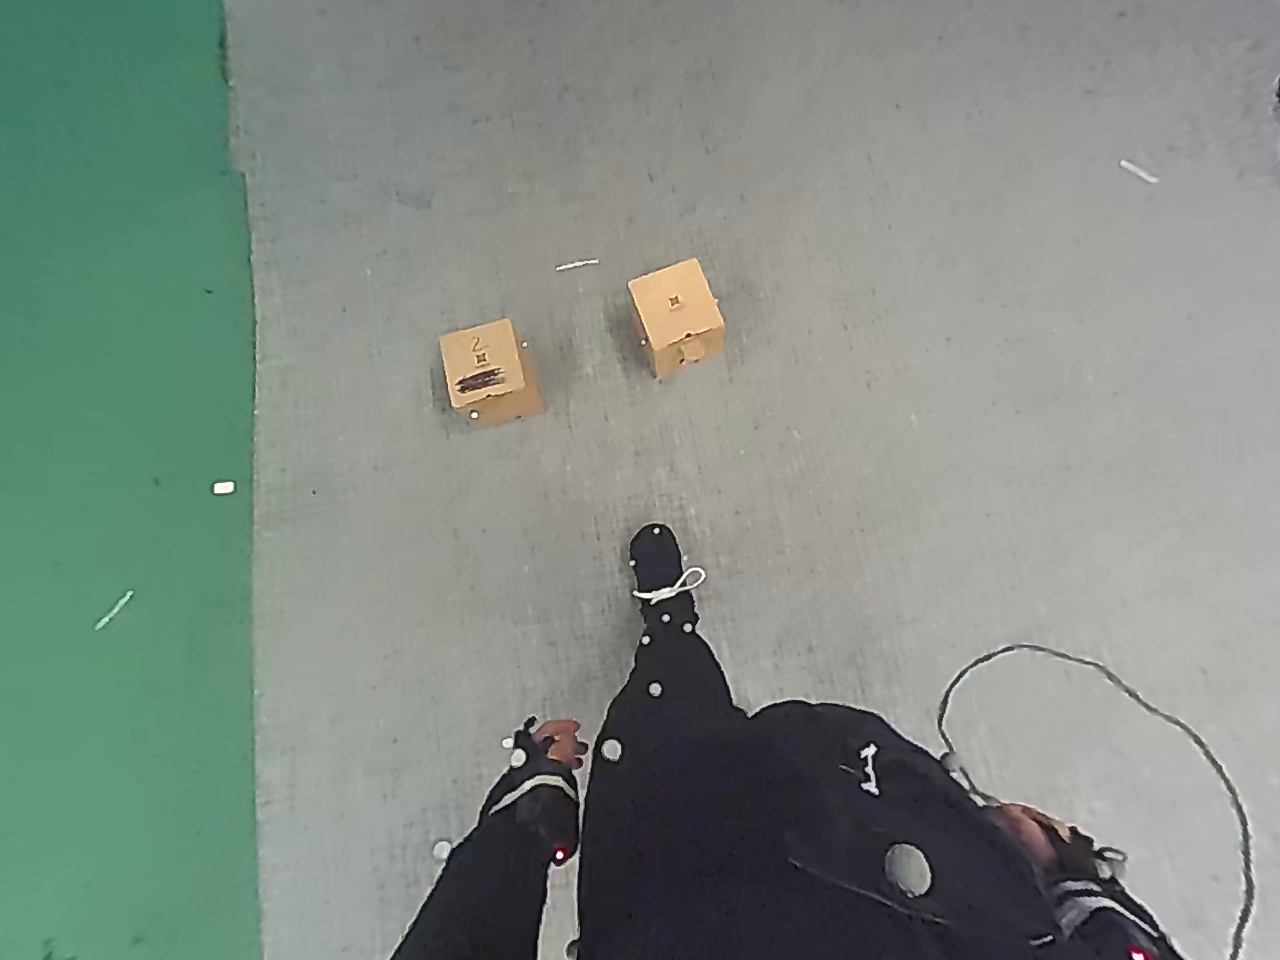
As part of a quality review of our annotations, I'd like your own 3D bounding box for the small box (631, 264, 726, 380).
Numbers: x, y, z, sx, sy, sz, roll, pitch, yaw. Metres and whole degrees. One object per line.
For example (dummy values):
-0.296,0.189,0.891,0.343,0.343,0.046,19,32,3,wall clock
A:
0.085,-0.360,1.256,0.168,0.176,0.179,-20,78,-1,small box
